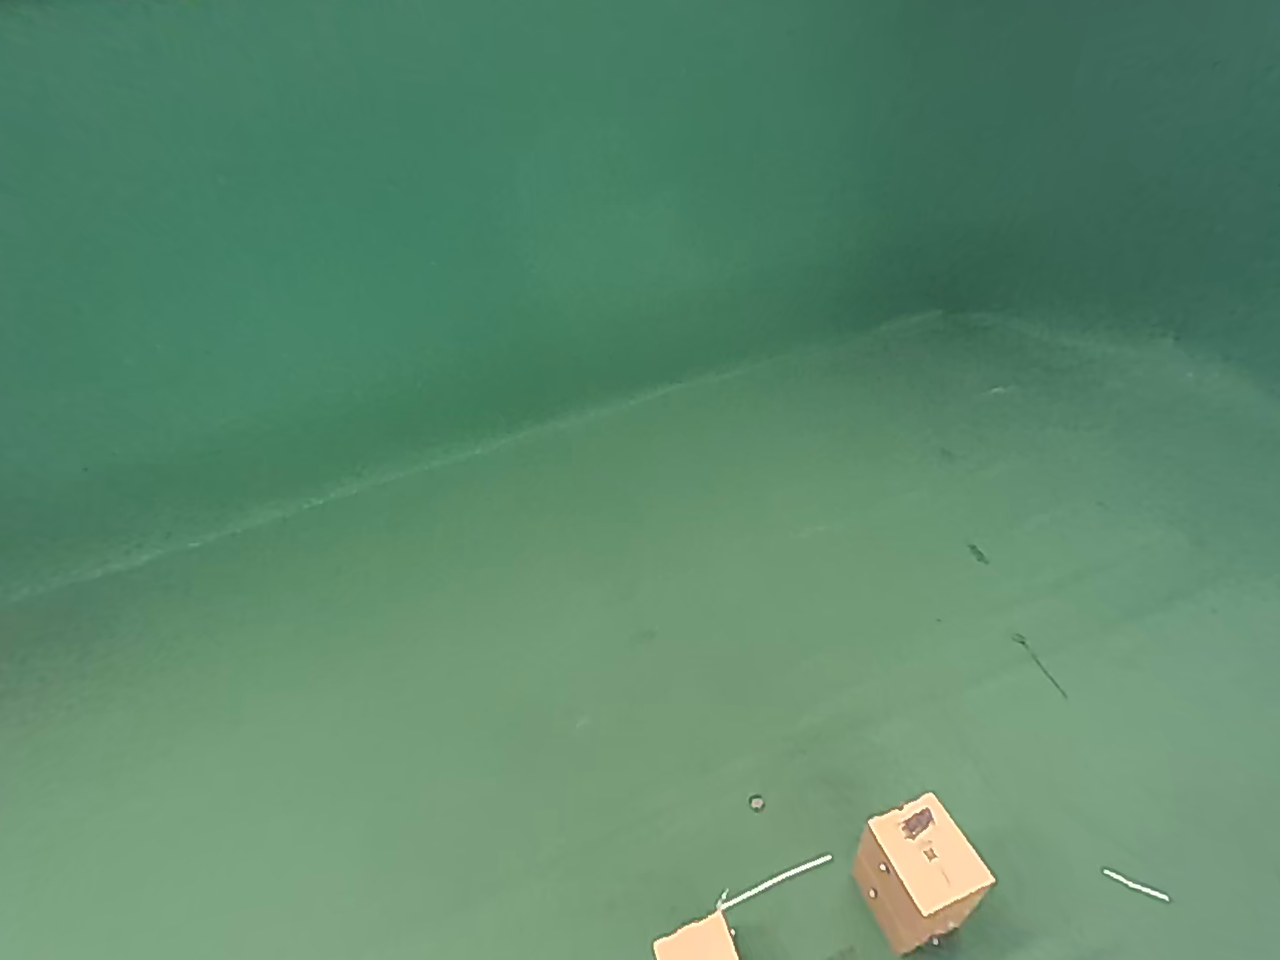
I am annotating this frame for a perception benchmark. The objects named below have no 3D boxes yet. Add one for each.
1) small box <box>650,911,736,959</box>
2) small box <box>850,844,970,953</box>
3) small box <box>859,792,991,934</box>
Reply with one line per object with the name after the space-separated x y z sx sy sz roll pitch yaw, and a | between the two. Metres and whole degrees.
0.136 1.088 1.168 0.168 0.176 0.179 -18 38 -10 | small box
0.609 0.938 1.247 0.168 0.176 0.179 -17 39 -9 | small box
0.589 0.810 1.146 0.168 0.176 0.179 -18 39 -10 | small box
